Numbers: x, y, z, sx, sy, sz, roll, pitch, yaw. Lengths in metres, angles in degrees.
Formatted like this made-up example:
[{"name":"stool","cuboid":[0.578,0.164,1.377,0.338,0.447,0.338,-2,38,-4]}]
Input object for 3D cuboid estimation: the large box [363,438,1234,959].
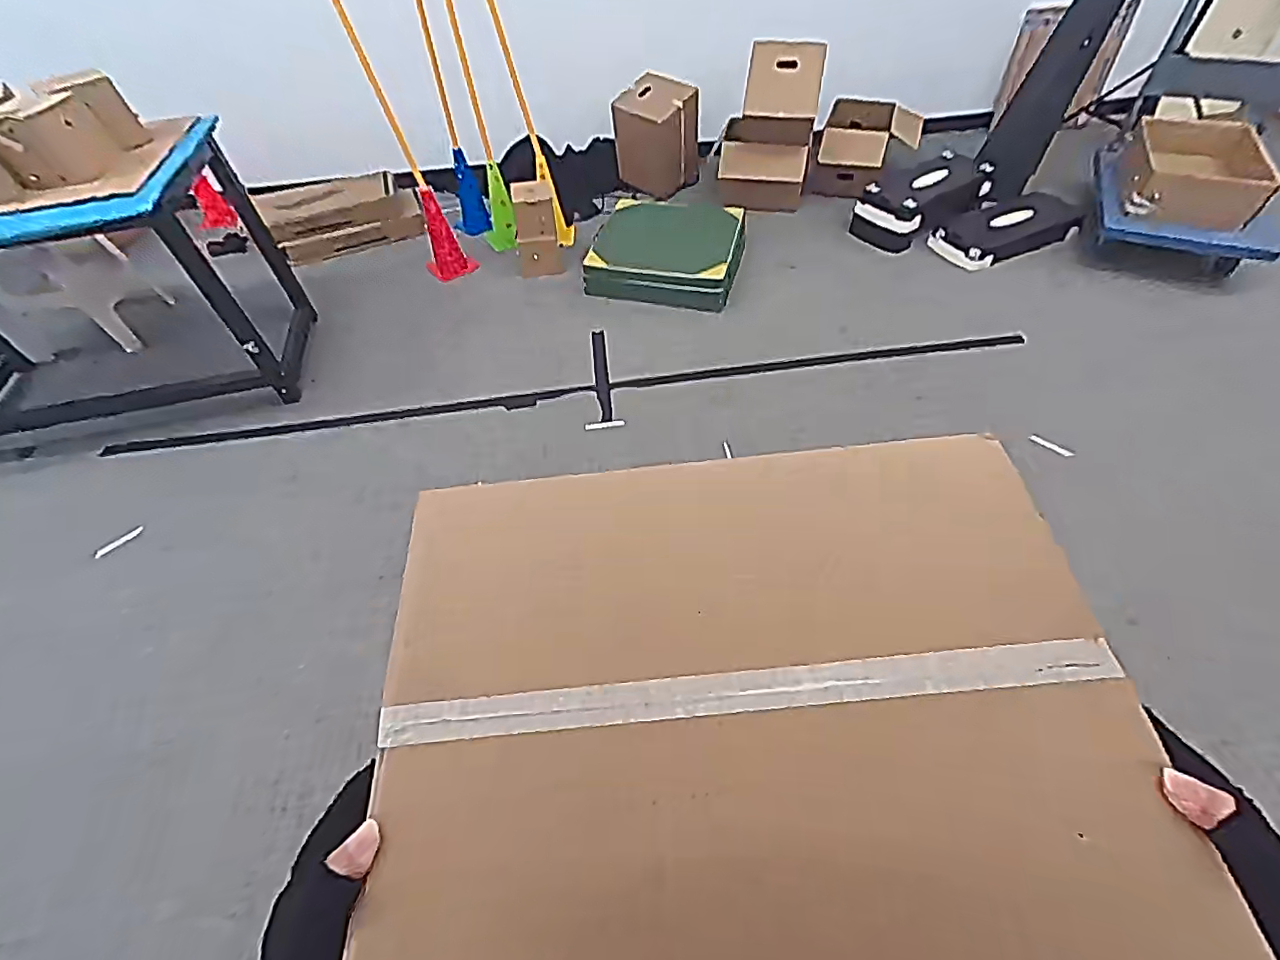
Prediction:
[{"name":"large box","cuboid":[0.064,0.199,0.440,0.408,0.320,0.320,-6,59,2]}]
